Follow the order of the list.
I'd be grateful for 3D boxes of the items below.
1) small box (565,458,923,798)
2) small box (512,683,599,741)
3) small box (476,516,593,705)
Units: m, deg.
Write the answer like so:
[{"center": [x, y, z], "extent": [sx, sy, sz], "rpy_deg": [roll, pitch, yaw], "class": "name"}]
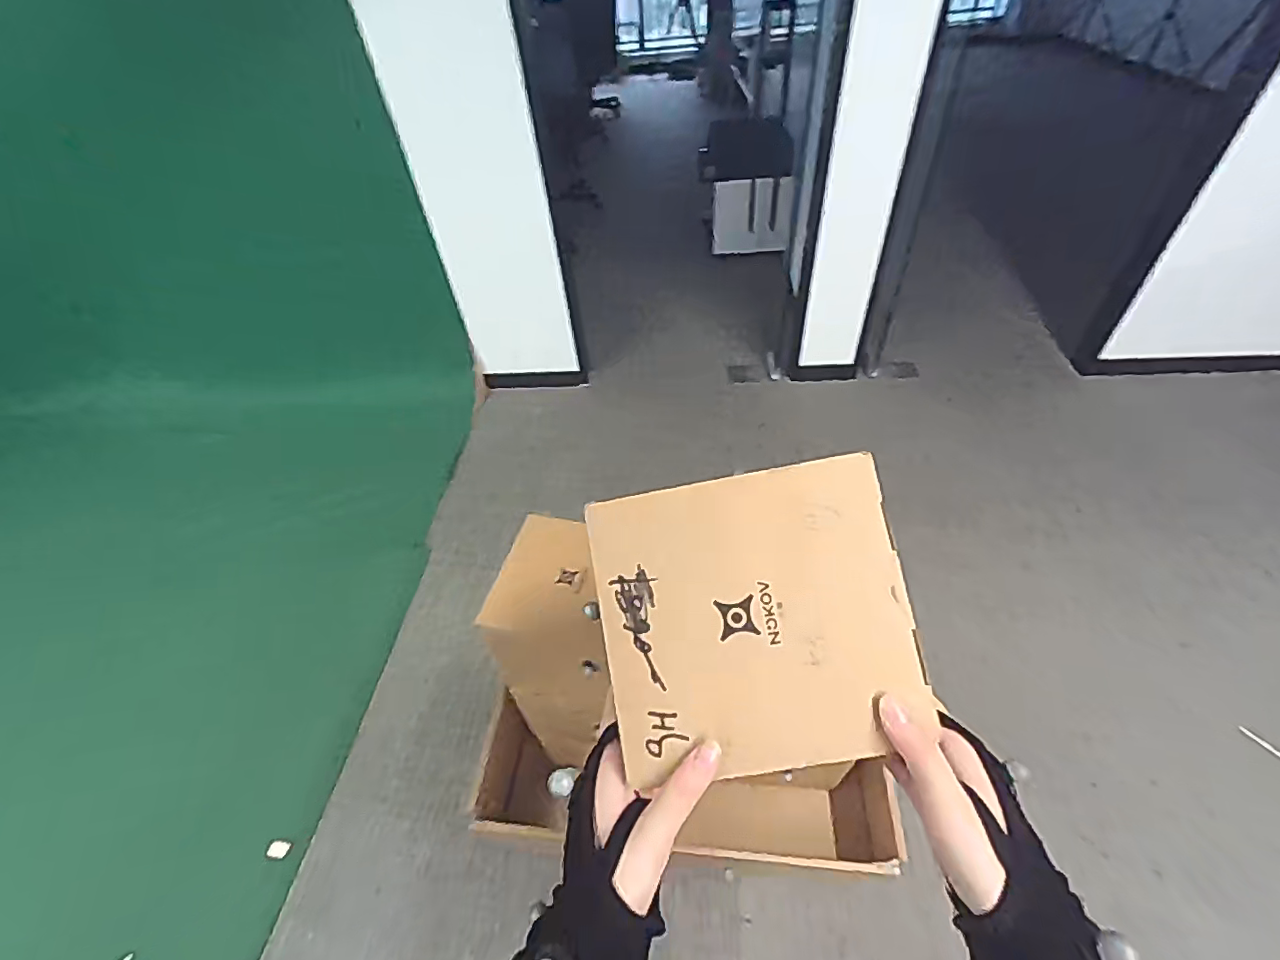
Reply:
[{"center": [0.059, 0.092, 0.382], "extent": [0.179, 0.176, 0.168], "rpy_deg": [-11, 80, 4], "class": "small box"}, {"center": [-0.069, 0.279, 0.815], "extent": [0.168, 0.176, 0.179], "rpy_deg": [6, 47, 11], "class": "small box"}, {"center": [-0.077, 0.172, 0.694], "extent": [0.179, 0.176, 0.168], "rpy_deg": [9, 48, 12], "class": "small box"}]
